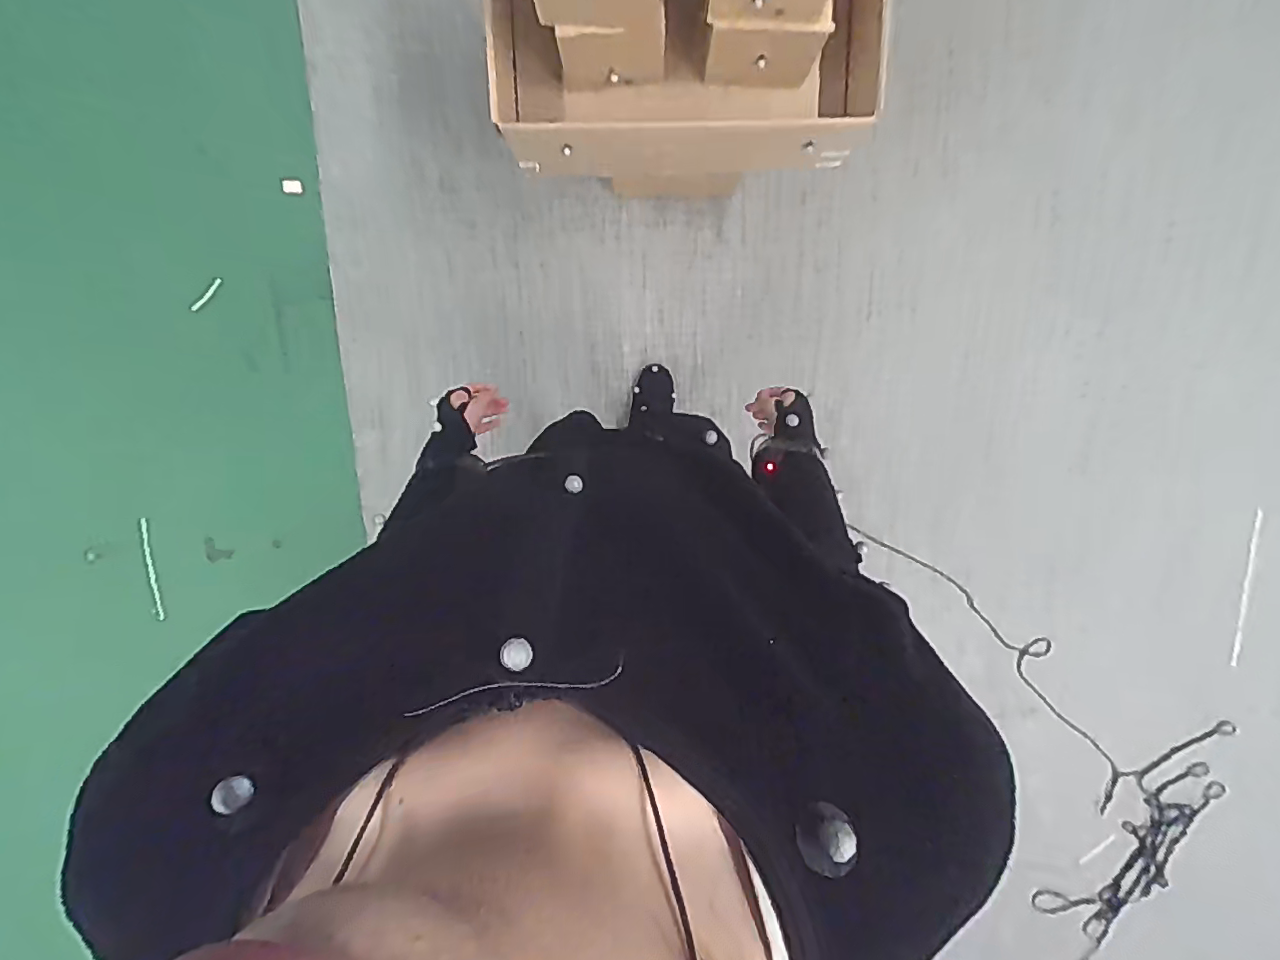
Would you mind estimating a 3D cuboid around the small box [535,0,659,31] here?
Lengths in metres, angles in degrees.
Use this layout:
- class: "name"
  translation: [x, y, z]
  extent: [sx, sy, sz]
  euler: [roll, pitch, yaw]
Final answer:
- class: "small box"
  translation: [-0.056, -0.728, 0.702]
  extent: [0.179, 0.176, 0.168]
  euler: [2, 100, 1]

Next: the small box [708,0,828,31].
- class: "small box"
  translation: [0.181, -0.736, 0.700]
  extent: [0.168, 0.176, 0.179]
  euler: [3, 100, 1]

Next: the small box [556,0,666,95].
- class: "small box"
  translation: [-0.048, -0.758, 0.863]
  extent: [0.168, 0.176, 0.179]
  euler: [-4, 101, 1]
